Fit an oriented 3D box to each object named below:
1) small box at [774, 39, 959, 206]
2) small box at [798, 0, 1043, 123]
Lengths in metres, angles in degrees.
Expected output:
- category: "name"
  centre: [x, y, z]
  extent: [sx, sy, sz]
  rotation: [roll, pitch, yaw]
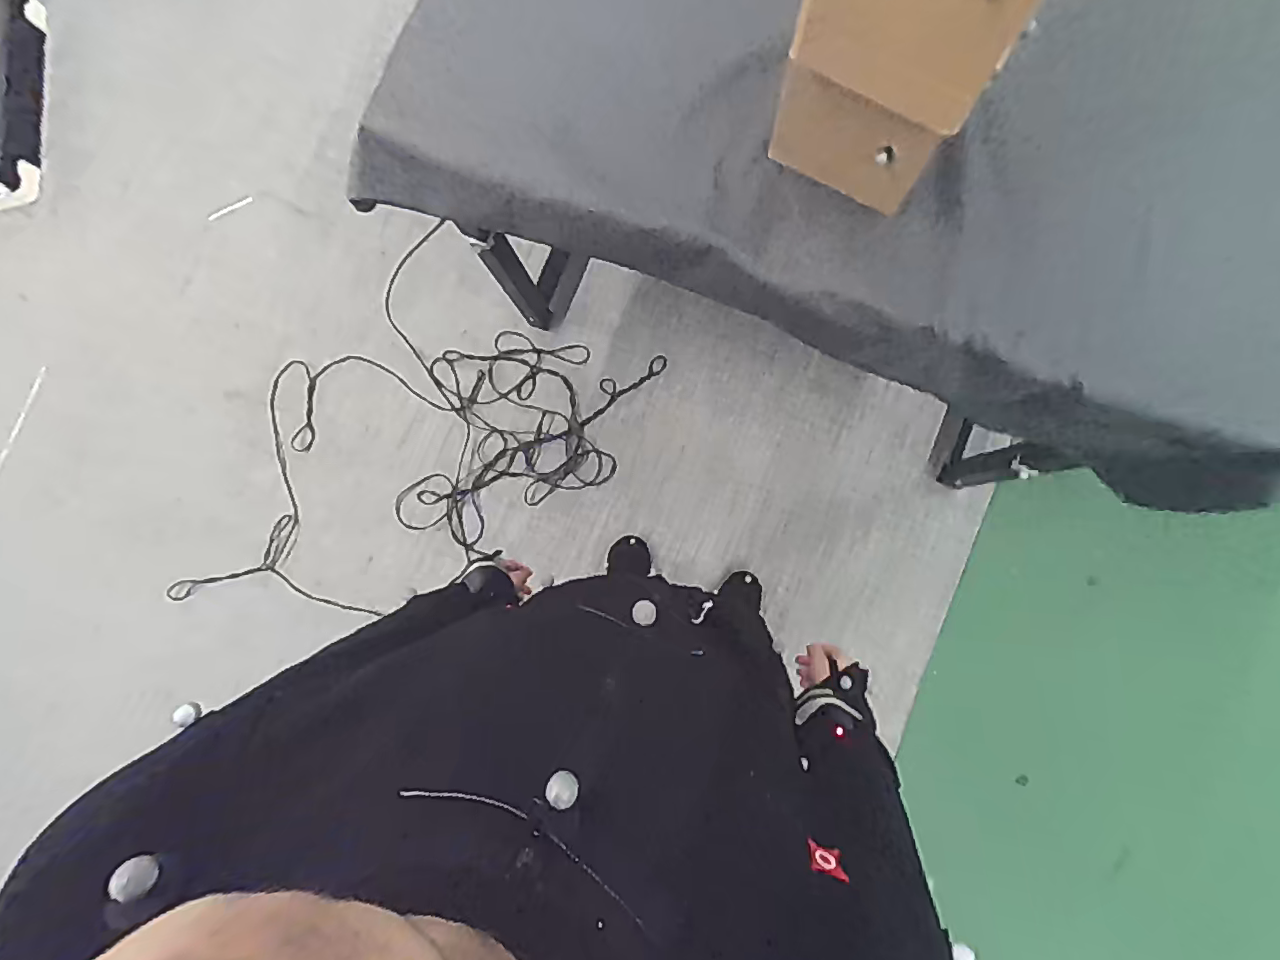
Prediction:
- category: "small box"
  centre: [0.273, -0.444, 0.600]
  extent: [0.179, 0.176, 0.168]
  rotation: [30, 86, 7]
- category: "small box"
  centre: [0.254, -0.441, 0.438]
  extent: [0.179, 0.176, 0.168]
  rotation: [31, 86, 6]
